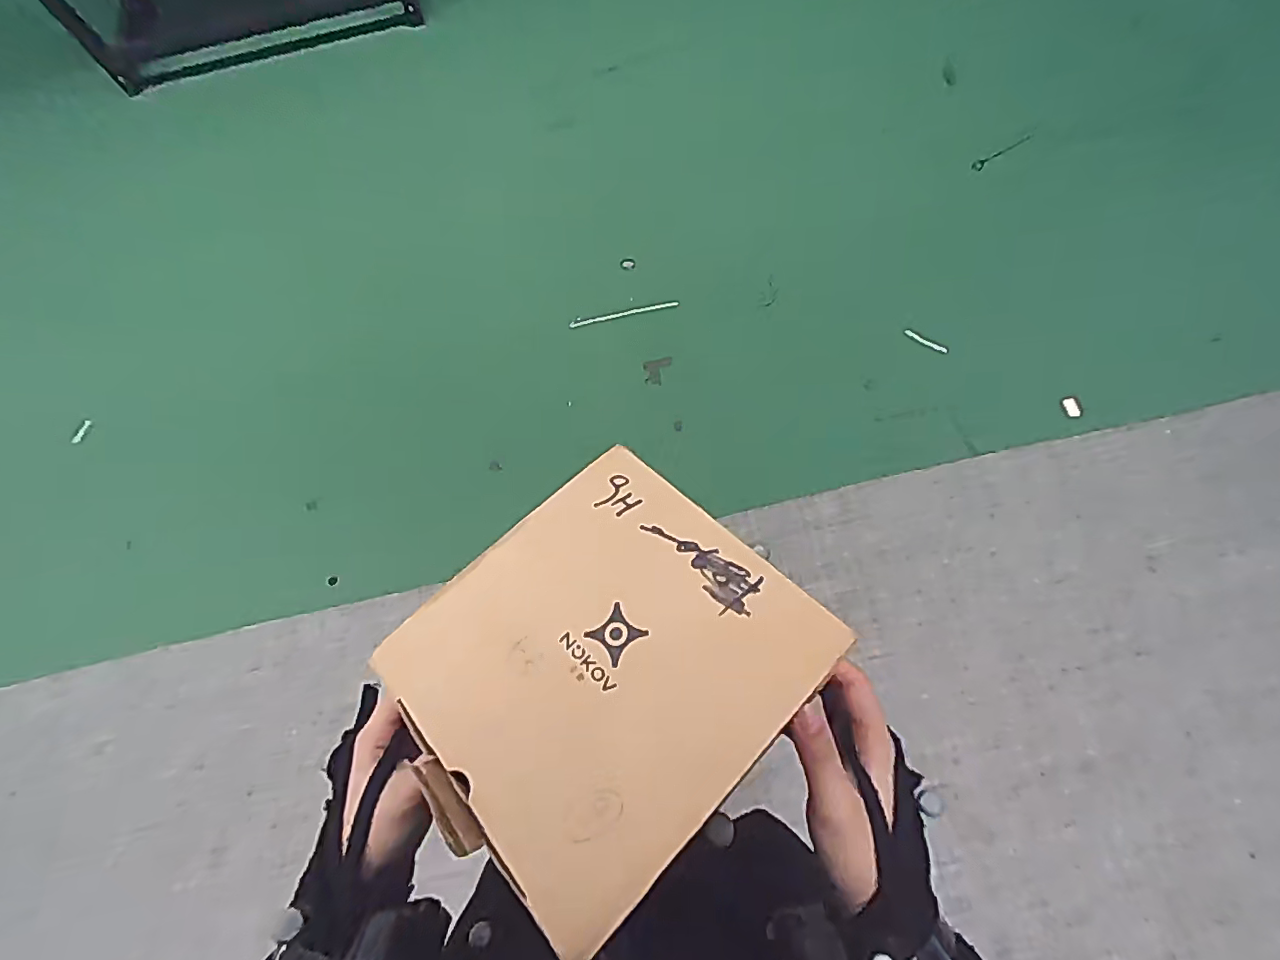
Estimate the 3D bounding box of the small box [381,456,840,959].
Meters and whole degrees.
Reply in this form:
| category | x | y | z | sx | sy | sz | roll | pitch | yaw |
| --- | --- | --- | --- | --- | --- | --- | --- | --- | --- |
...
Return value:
| category | x | y | z | sx | sy | sz | roll | pitch | yaw |
| --- | --- | --- | --- | --- | --- | --- | --- | --- | --- |
| small box | -0.008 | 0.126 | 0.333 | 0.179 | 0.176 | 0.168 | -42 | 63 | -17 |
